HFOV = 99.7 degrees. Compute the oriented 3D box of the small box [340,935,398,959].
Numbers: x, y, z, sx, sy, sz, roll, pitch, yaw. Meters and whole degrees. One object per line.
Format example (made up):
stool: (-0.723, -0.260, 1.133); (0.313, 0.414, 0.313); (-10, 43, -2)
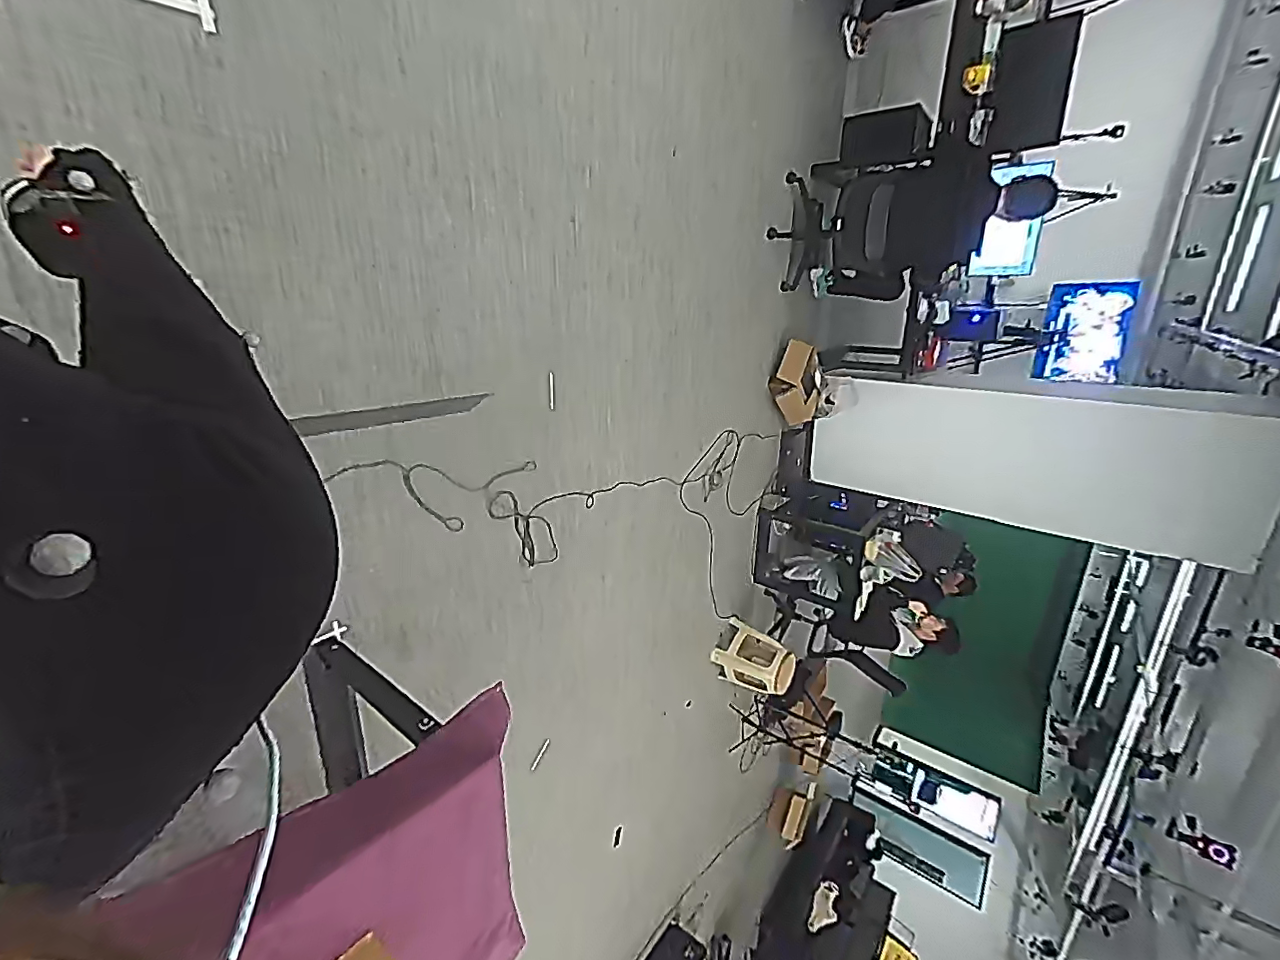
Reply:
small box: (-0.462, 0.924, 0.895); (0.168, 0.176, 0.179); (-22, 118, -48)
